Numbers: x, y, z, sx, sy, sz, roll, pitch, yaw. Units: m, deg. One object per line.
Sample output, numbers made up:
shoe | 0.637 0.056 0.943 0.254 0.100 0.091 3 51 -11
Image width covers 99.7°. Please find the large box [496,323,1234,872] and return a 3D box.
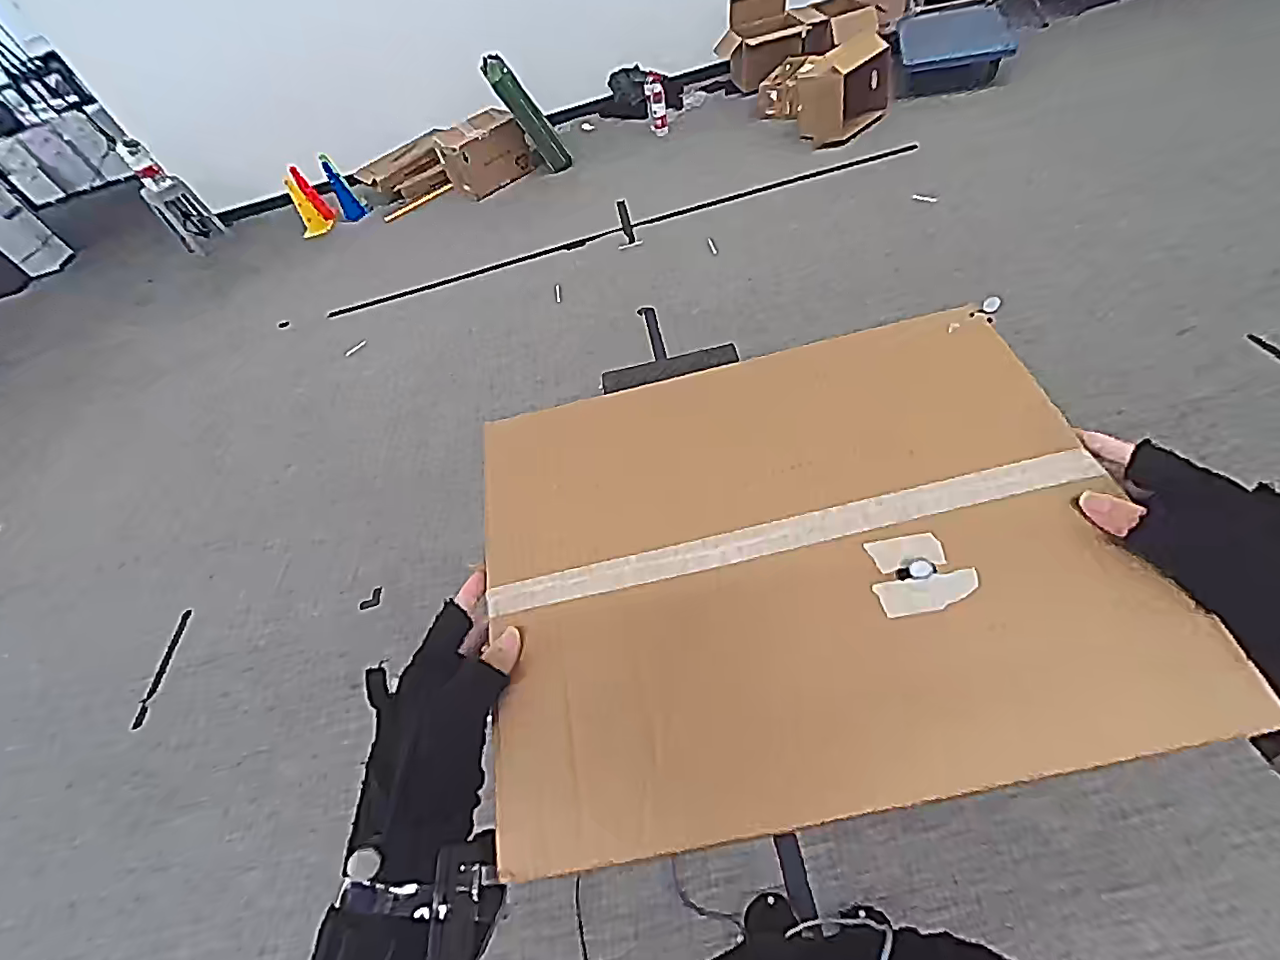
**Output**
large box | 0.119 0.119 0.496 0.408 0.320 0.320 -14 58 2
